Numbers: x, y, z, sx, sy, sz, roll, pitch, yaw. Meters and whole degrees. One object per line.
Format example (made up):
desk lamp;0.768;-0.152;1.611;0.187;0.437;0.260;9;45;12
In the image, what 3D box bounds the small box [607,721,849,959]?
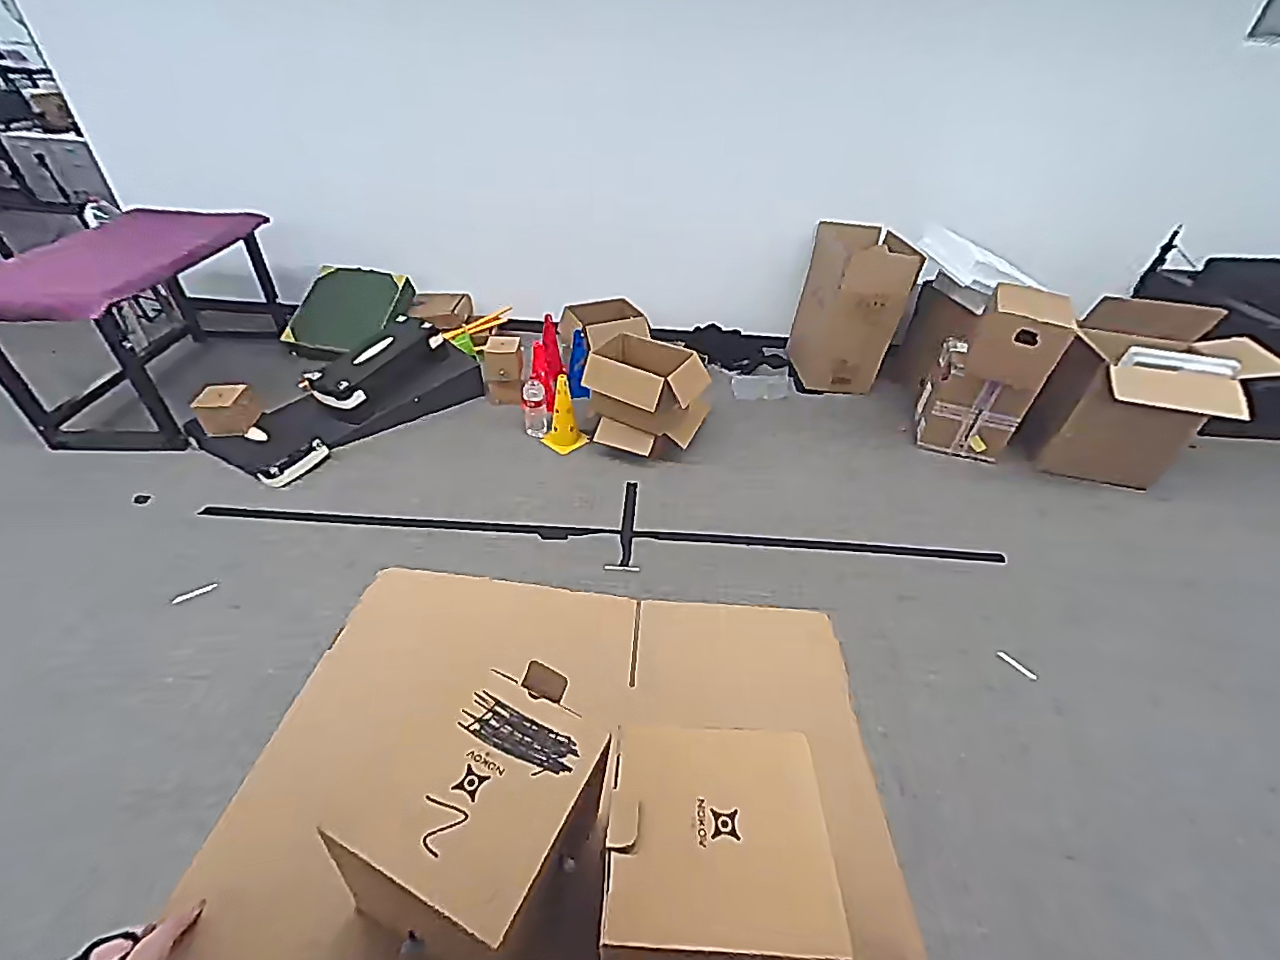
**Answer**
small box;0.066;0.347;0.495;0.179;0.176;0.168;1;35;2
